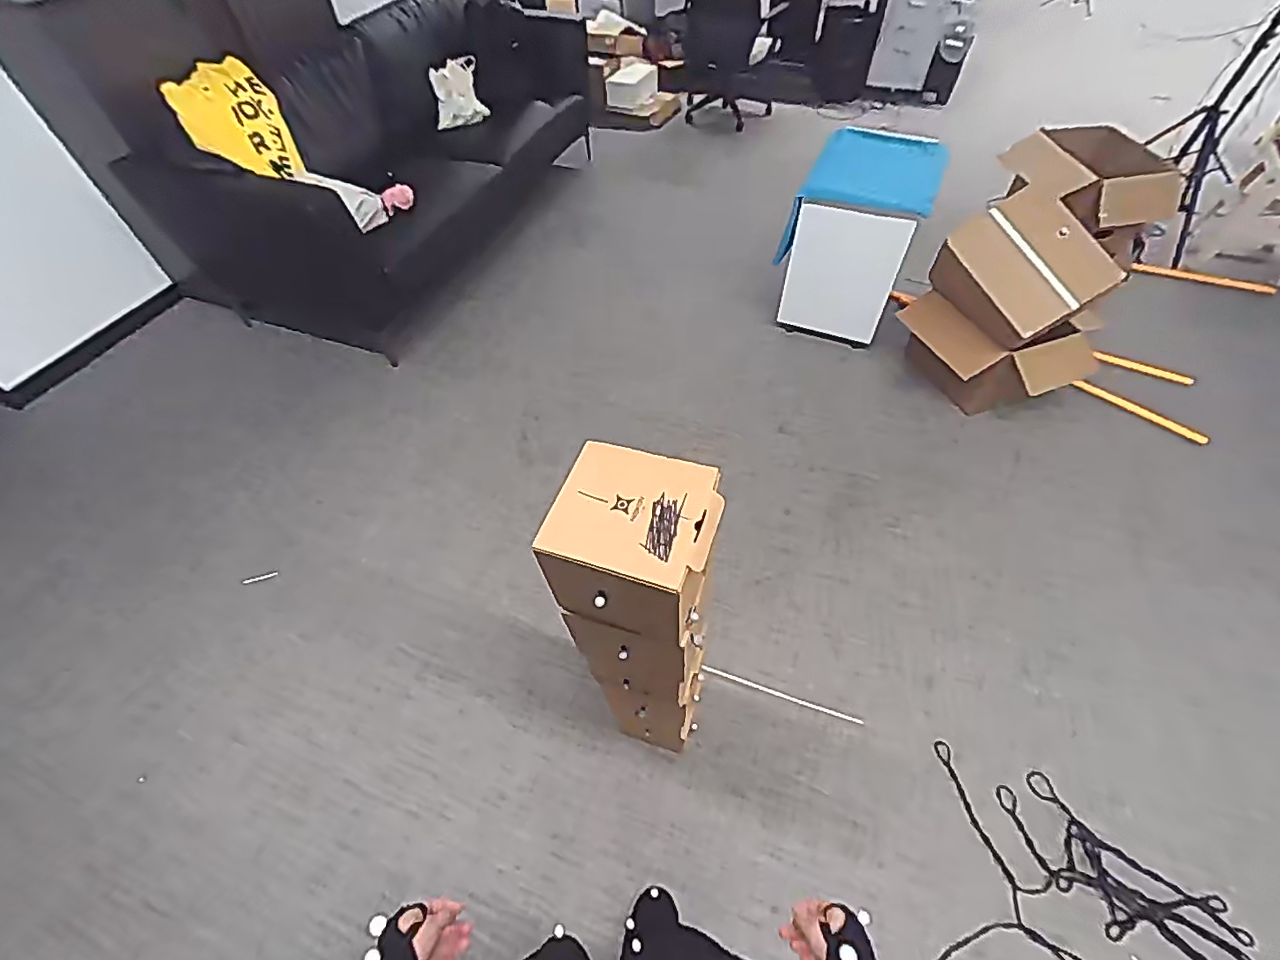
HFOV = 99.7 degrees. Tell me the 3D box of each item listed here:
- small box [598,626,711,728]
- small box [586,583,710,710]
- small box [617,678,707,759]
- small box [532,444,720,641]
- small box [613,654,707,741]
[{"bbox_3d":[0.033,0.376,1.078,0.179,0.176,0.168,13,54,13],"label":"small box"},{"bbox_3d":[0.019,0.276,0.950,0.168,0.176,0.179,12,55,13],"label":"small box"},{"bbox_3d":[0.057,0.569,1.341,0.179,0.176,0.168,15,54,14],"label":"small box"},{"bbox_3d":[-0.007,0.084,0.685,0.179,0.176,0.168,14,55,16],"label":"small box"},{"bbox_3d":[0.041,0.464,1.216,0.179,0.176,0.168,15,55,14],"label":"small box"}]
